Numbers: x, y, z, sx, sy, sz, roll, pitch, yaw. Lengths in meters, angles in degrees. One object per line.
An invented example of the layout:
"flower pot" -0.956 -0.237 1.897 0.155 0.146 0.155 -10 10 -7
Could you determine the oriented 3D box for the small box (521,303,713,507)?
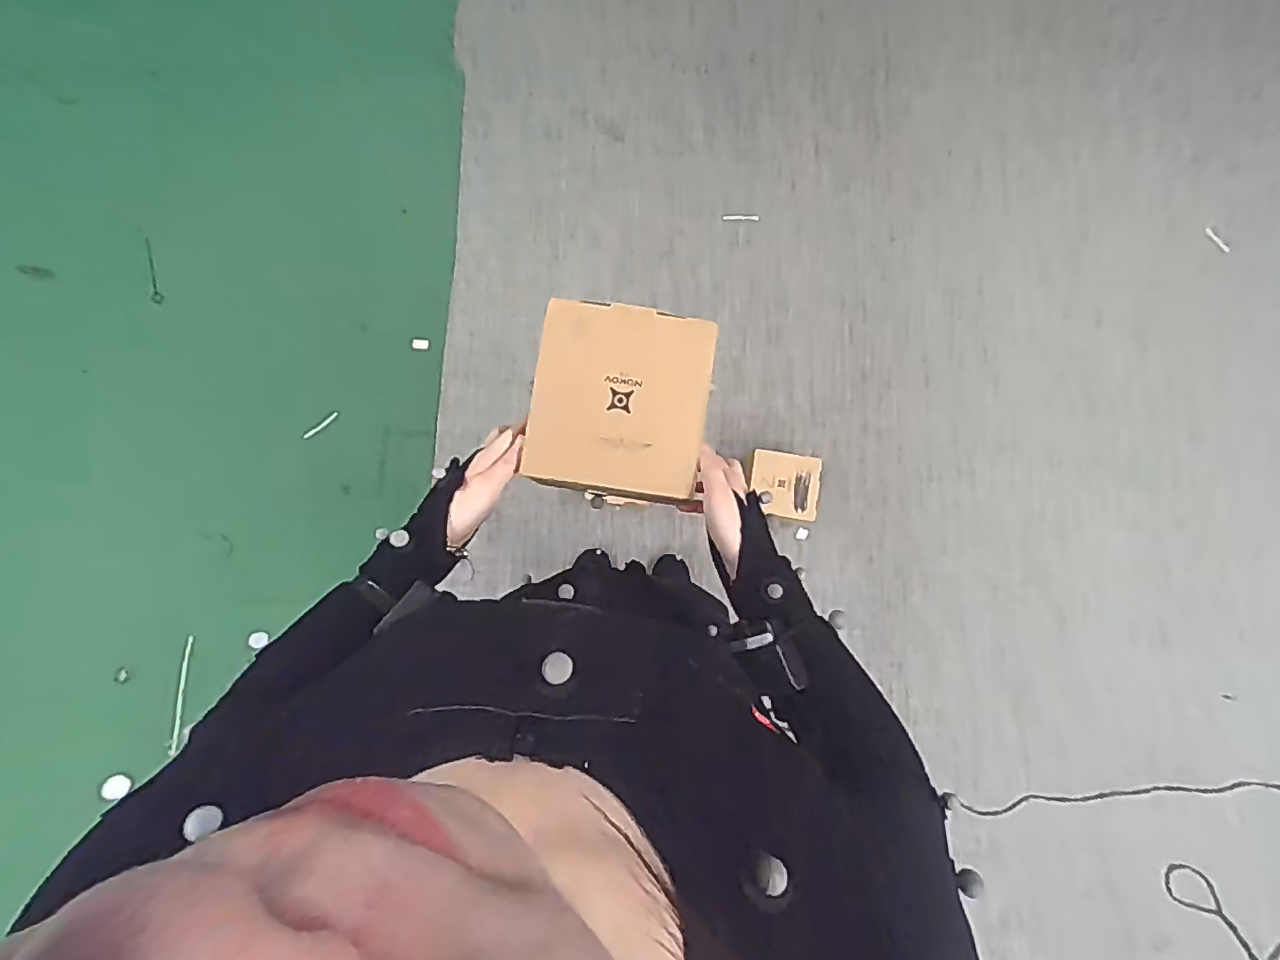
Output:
"small box" -0.024 -0.069 0.600 0.168 0.176 0.179 9 85 -1
